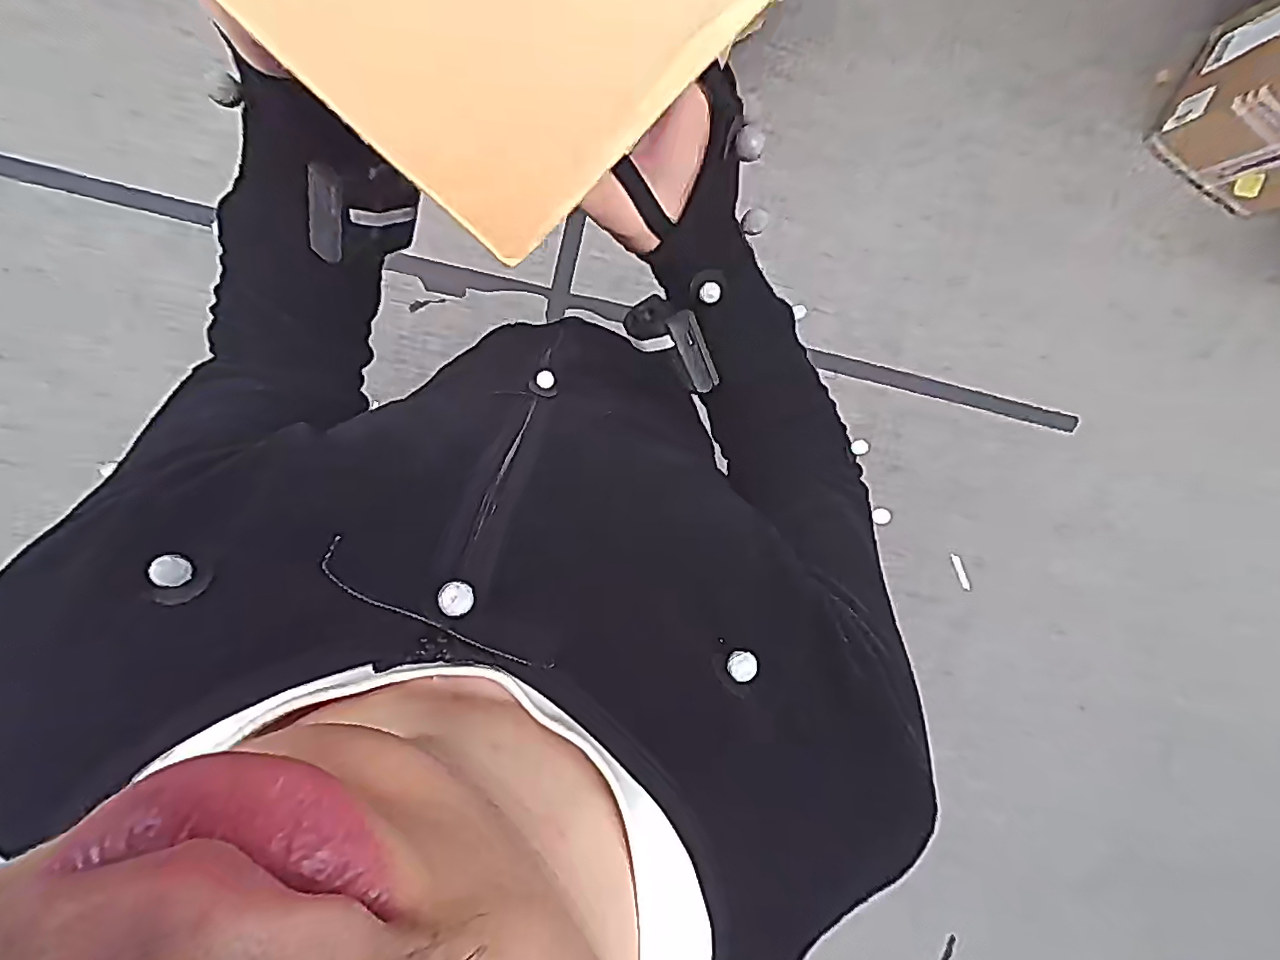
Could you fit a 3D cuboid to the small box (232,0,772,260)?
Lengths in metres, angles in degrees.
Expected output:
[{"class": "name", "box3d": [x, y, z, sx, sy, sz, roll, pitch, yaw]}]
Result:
[{"class": "small box", "box3d": [-0.032, -0.209, 0.152, 0.179, 0.176, 0.168, -34, 125, 26]}]
